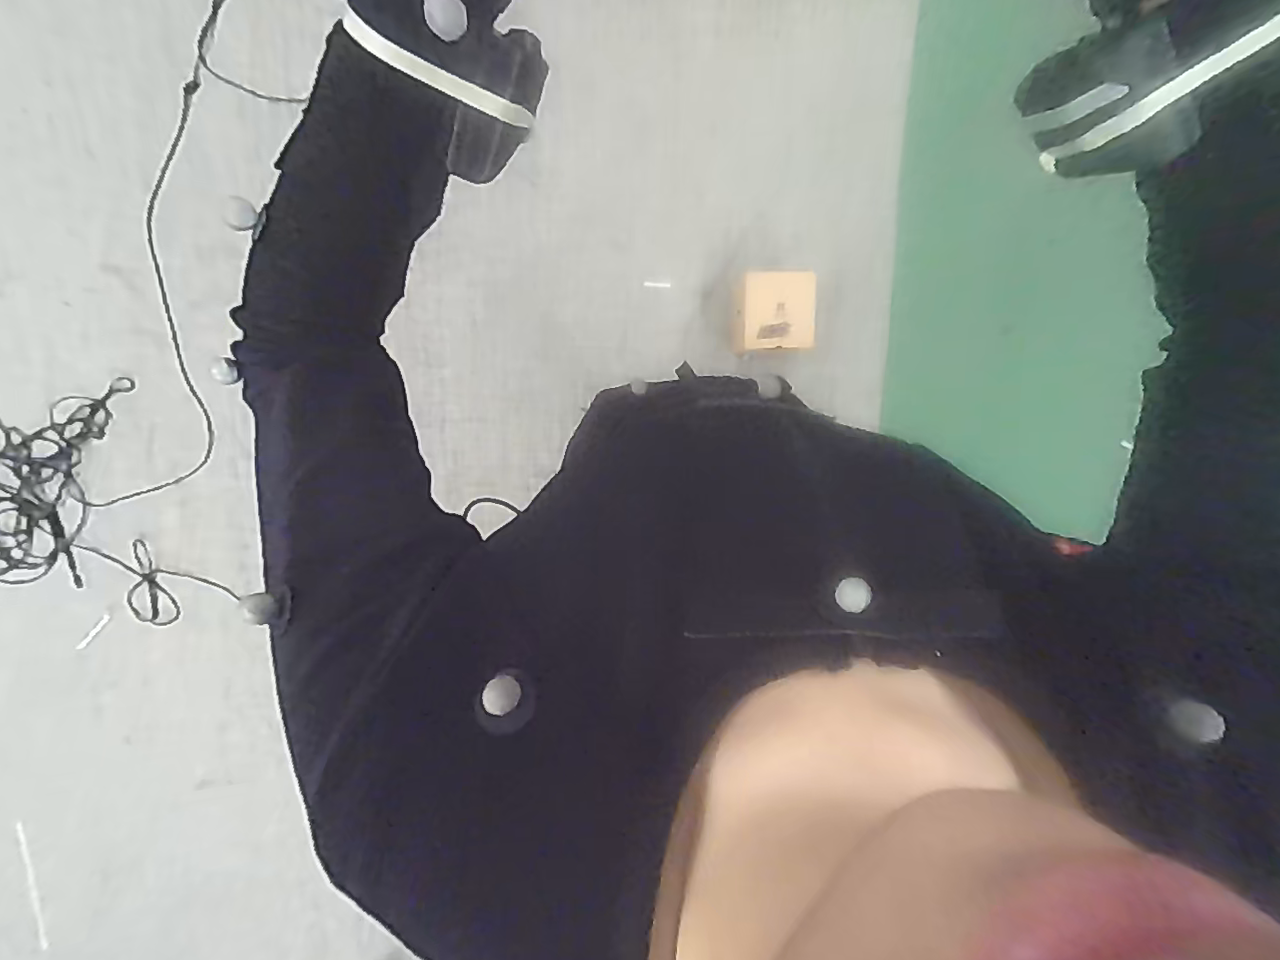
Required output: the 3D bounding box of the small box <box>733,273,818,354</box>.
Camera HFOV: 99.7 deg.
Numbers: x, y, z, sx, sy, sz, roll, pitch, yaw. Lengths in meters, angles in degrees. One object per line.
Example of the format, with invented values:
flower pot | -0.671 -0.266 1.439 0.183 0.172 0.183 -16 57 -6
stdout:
small box | 0.326 -0.402 1.328 0.168 0.176 0.179 0 98 0
